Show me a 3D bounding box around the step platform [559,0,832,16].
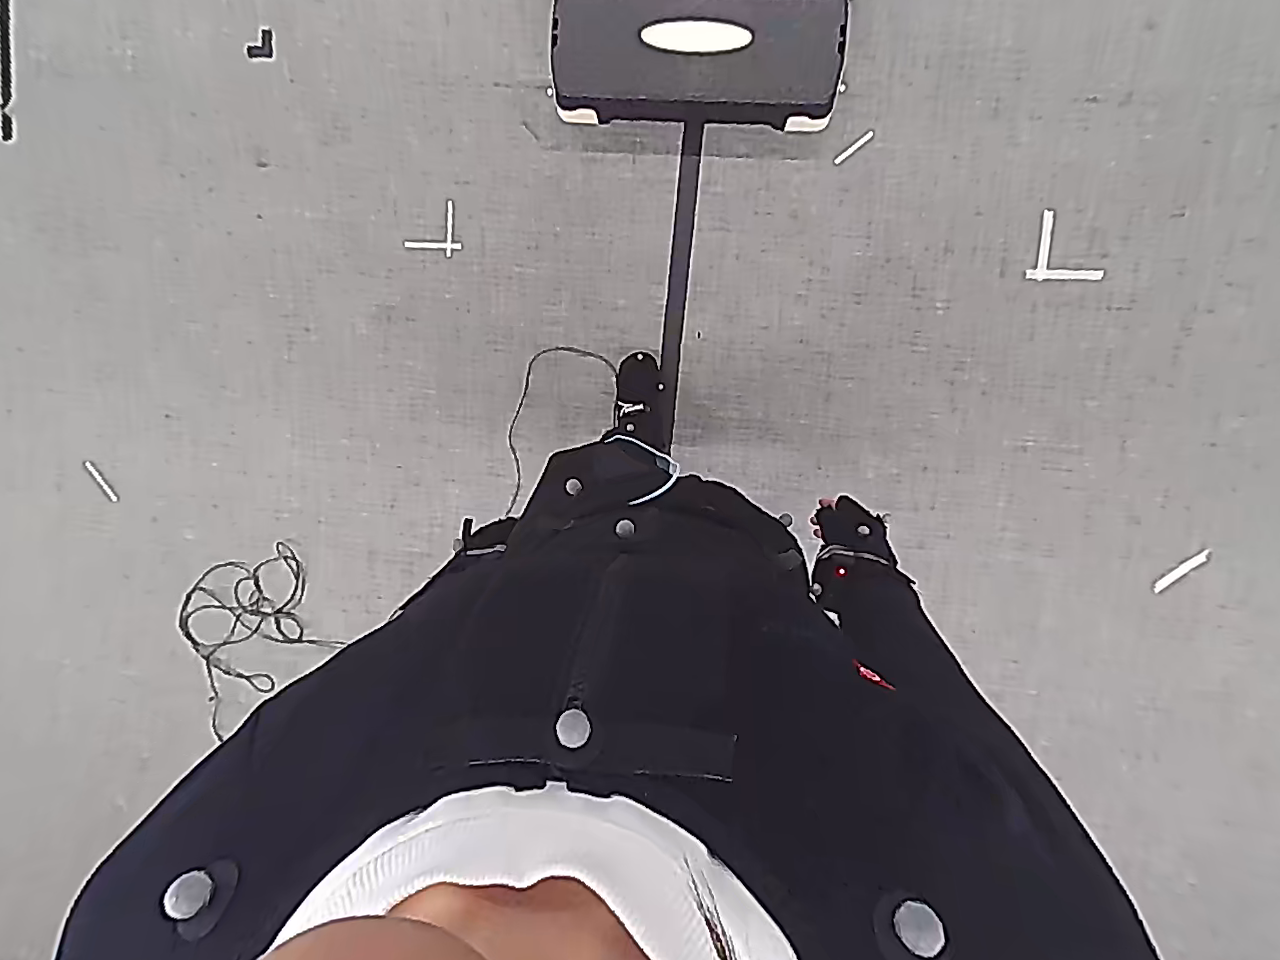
[{"bbox_3d":[0.125,-1.248,1.193,0.684,0.204,0.286,4,97,4],"label":"step platform"}]
